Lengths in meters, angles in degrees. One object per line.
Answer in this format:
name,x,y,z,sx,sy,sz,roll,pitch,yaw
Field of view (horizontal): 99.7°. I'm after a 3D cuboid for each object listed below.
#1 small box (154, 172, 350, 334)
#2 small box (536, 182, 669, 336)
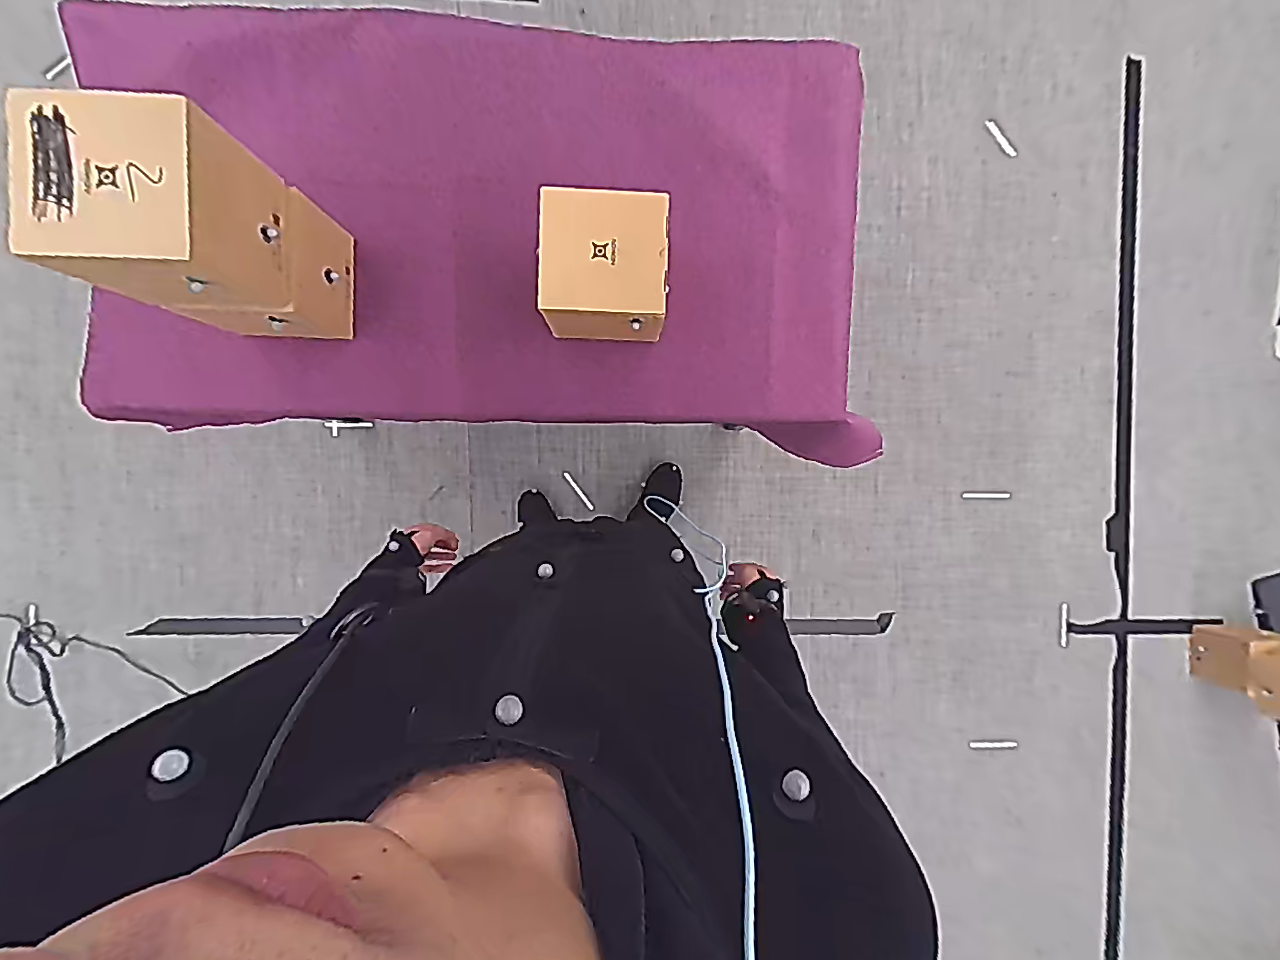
small box,-0.542,-0.313,0.779,0.179,0.176,0.168,2,93,-3
small box,-0.054,-0.316,0.805,0.179,0.176,0.168,1,92,-3
